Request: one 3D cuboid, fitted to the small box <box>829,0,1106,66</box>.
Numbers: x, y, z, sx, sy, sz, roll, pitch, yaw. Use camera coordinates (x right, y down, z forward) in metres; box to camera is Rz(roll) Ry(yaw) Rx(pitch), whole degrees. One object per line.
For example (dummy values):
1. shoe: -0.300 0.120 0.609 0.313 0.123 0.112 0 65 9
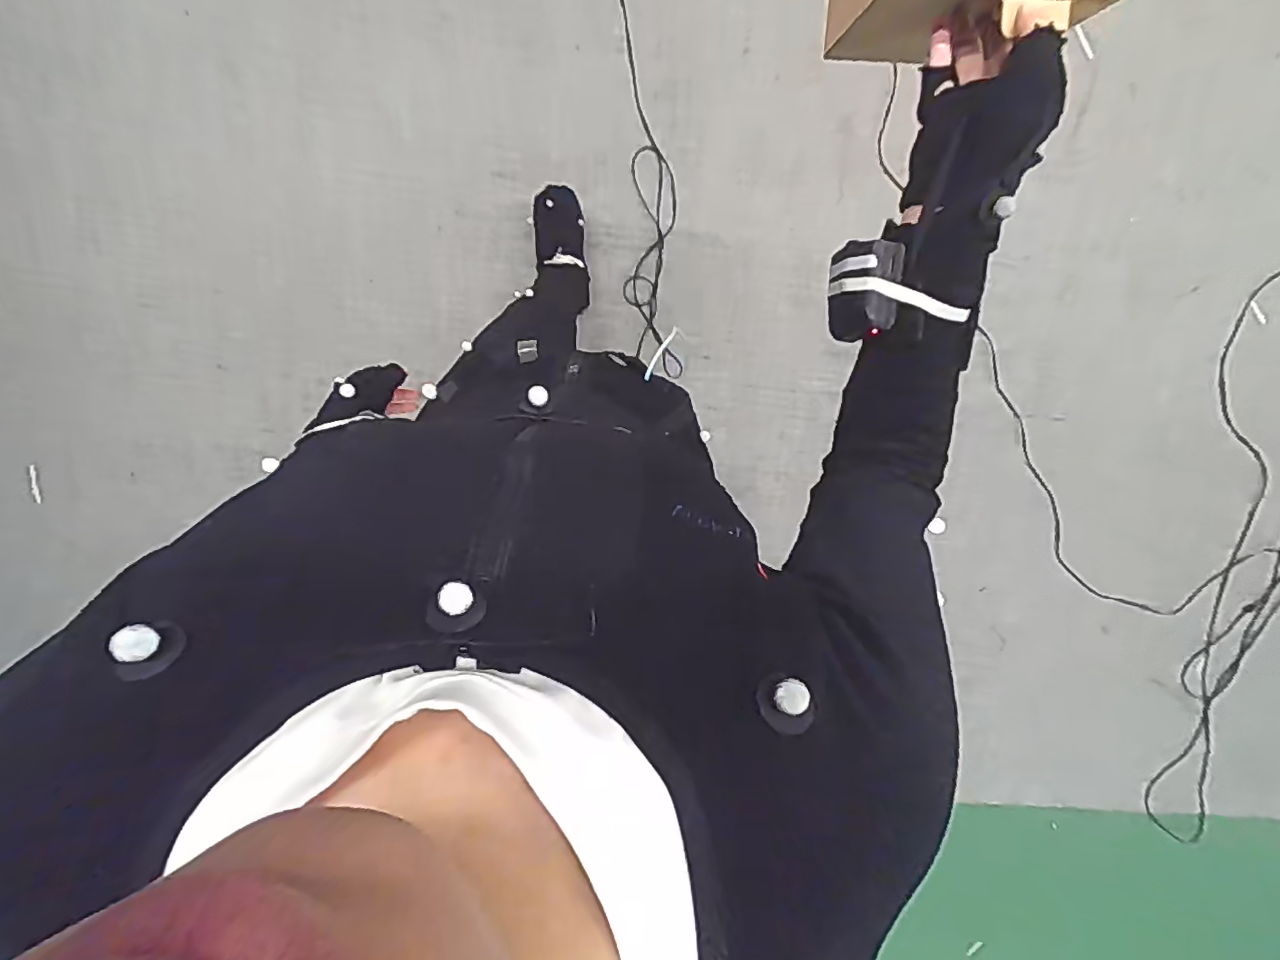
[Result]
1. small box: 0.246 -0.425 0.370 0.168 0.176 0.179 0 109 -3
